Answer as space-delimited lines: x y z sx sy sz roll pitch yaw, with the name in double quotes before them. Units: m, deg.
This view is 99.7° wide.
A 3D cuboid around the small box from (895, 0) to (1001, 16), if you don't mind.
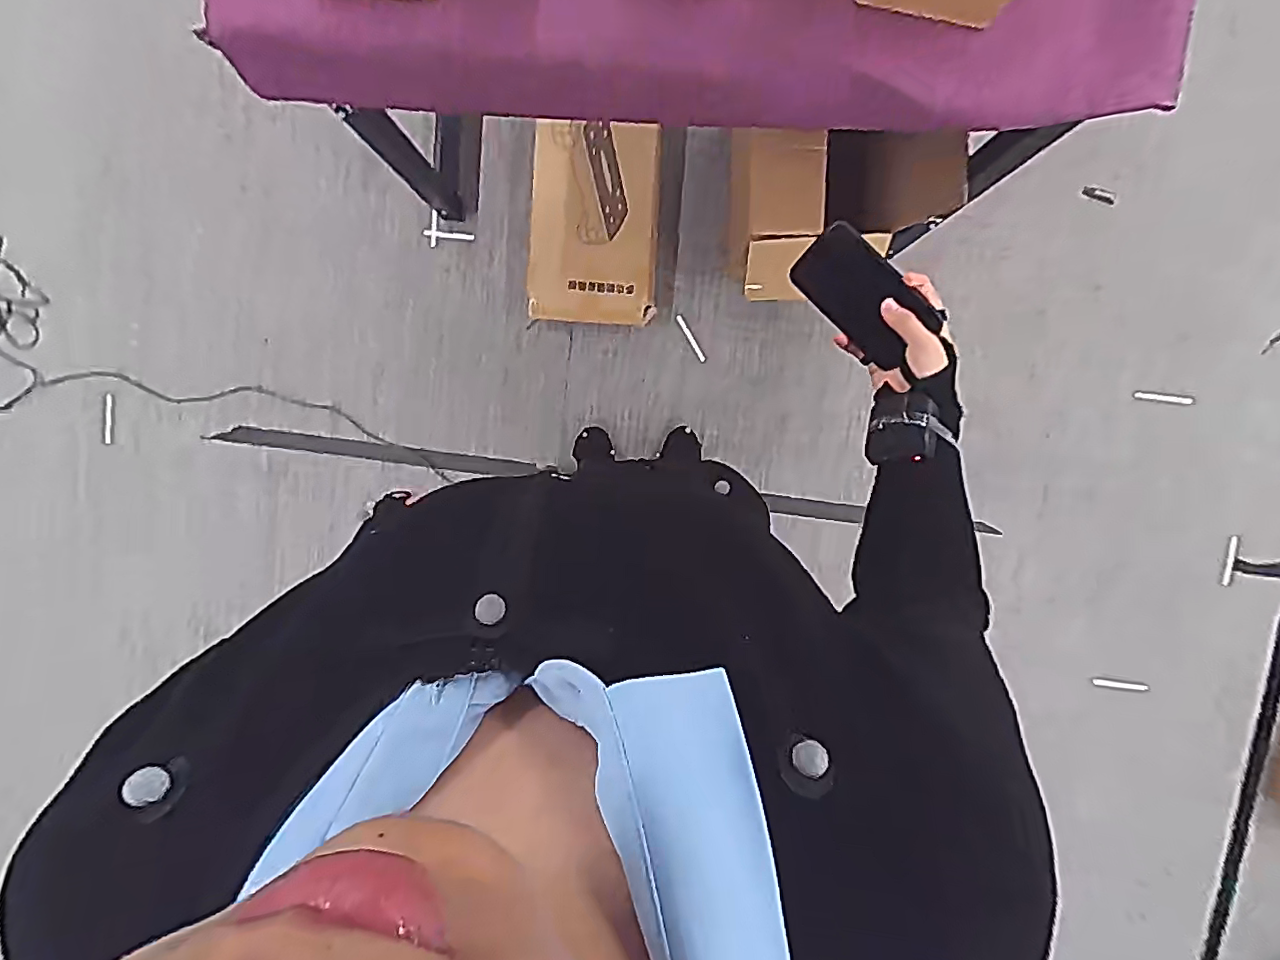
"small box" 0.375 -0.666 0.595 0.179 0.176 0.168 11 96 0
